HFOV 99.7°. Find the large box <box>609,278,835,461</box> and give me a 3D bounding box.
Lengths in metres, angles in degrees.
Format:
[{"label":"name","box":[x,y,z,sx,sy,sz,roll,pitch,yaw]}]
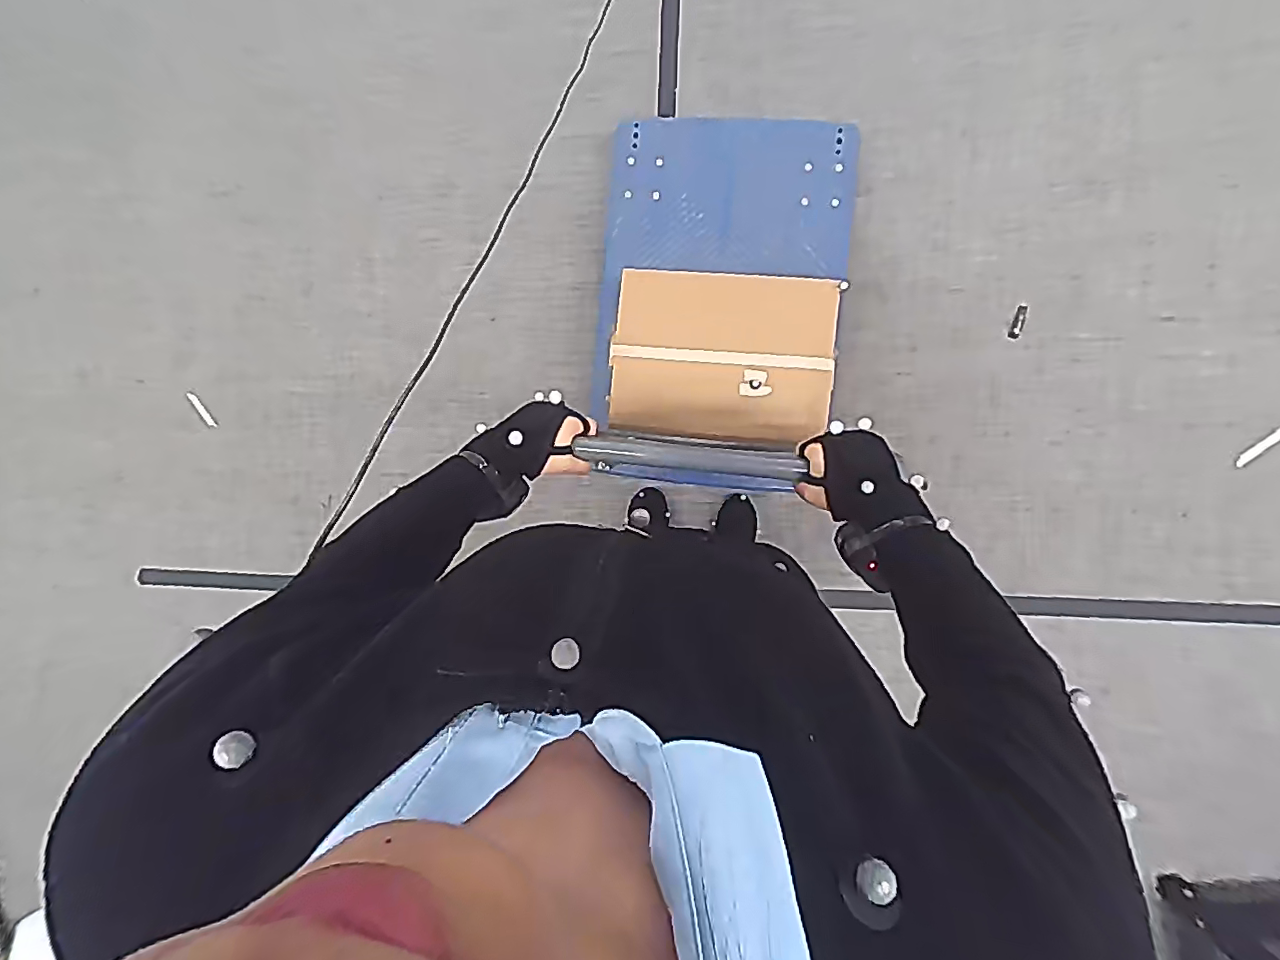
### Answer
[{"label":"large box","box":[0.161,-0.213,1.154,0.408,0.320,0.320,6,91,6]}]
